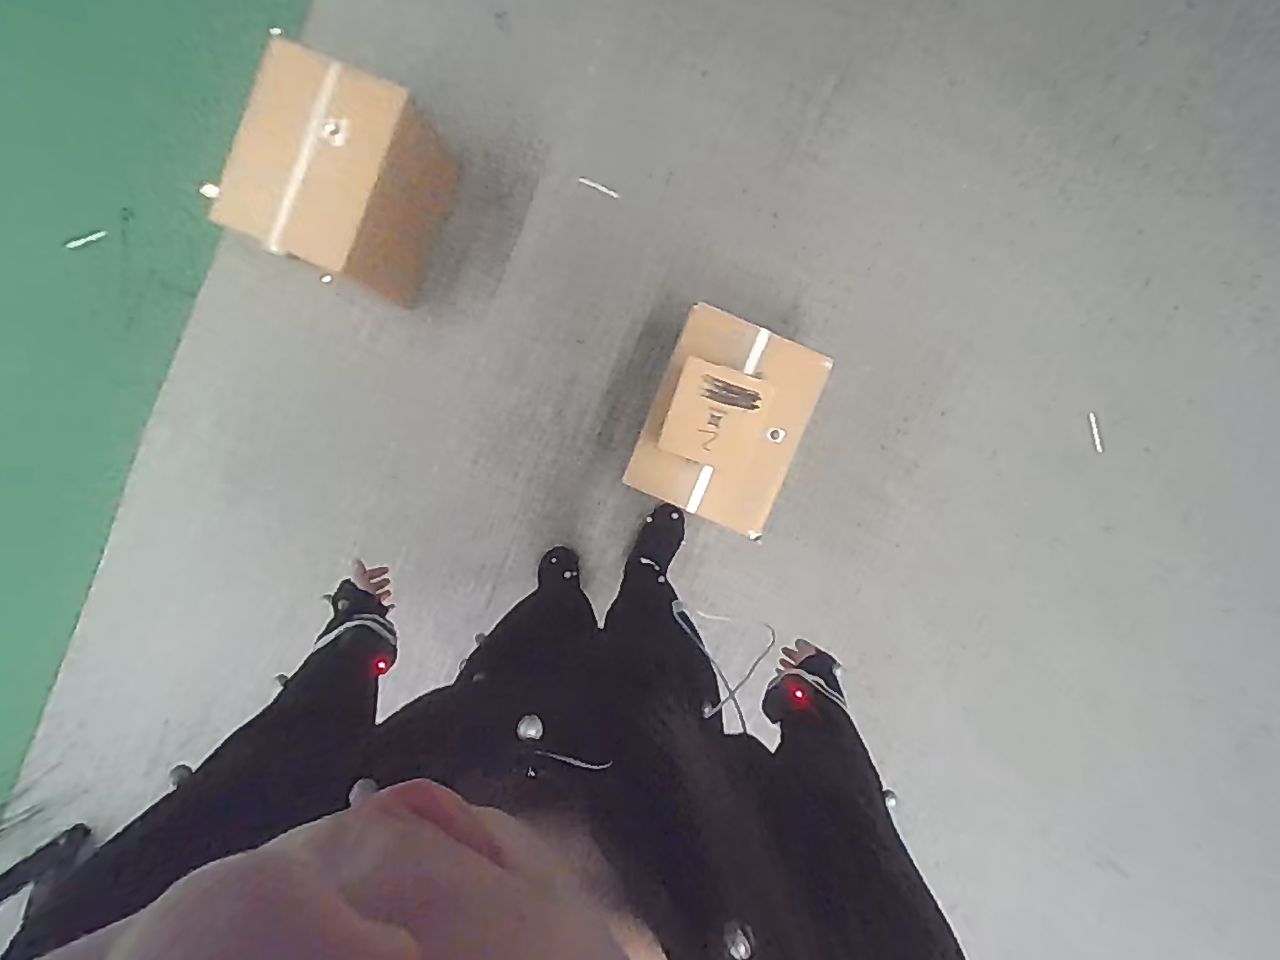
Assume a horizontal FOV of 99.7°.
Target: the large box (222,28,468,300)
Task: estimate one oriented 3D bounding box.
[{"bbox_3d":[-0.666,-0.703,1.274,0.320,0.320,0.408,24,94,2],"label":"large box"}]
